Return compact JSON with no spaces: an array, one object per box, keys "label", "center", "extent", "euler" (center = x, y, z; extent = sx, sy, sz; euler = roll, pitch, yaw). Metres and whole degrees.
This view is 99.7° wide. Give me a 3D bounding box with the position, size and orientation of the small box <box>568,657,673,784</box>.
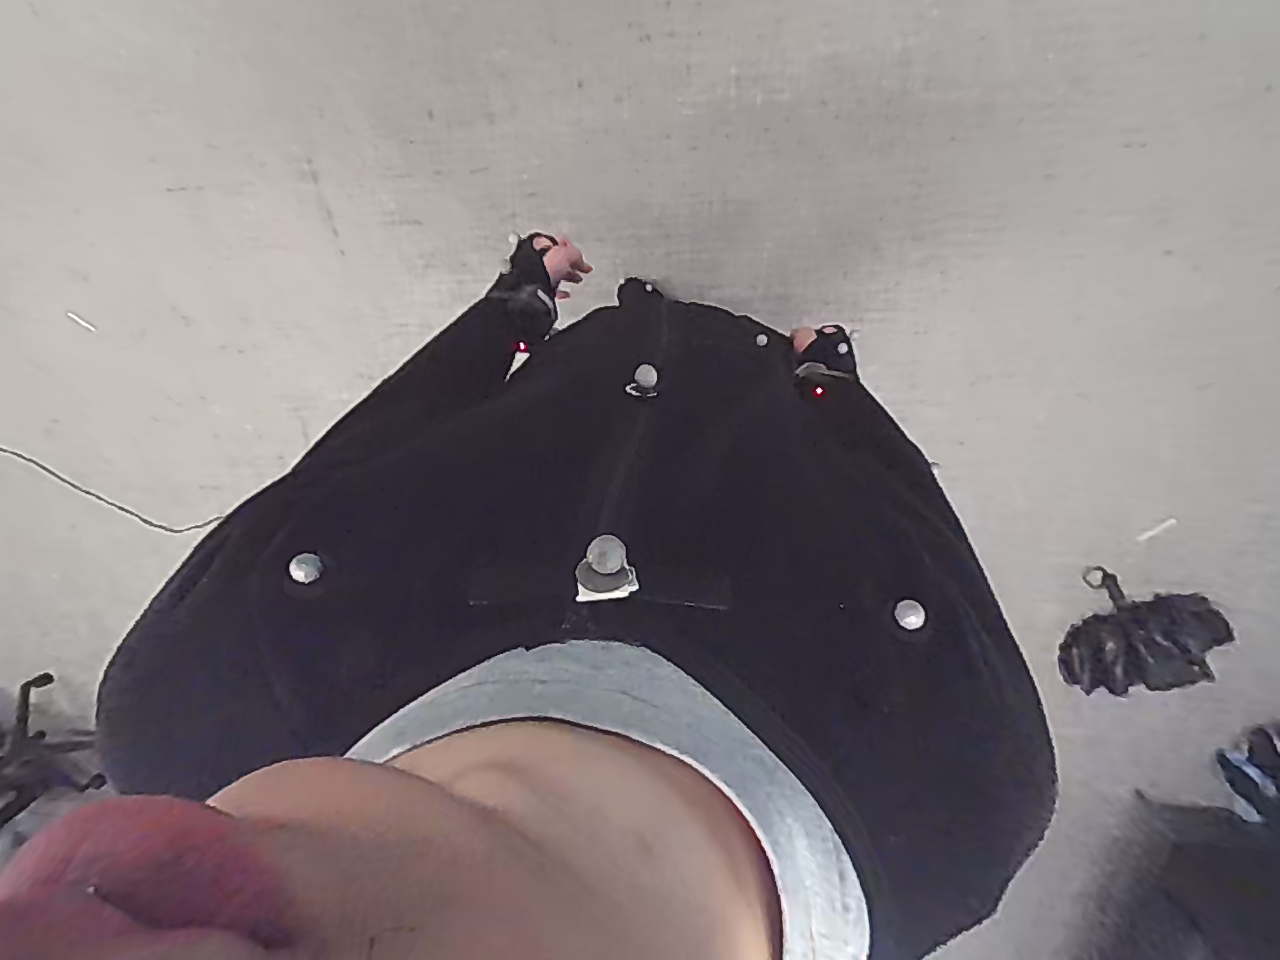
[{"label":"small box","center":[-0.029,0.480,1.078],"extent":[0.168,0.176,0.179],"euler":[-8,113,9]}]
